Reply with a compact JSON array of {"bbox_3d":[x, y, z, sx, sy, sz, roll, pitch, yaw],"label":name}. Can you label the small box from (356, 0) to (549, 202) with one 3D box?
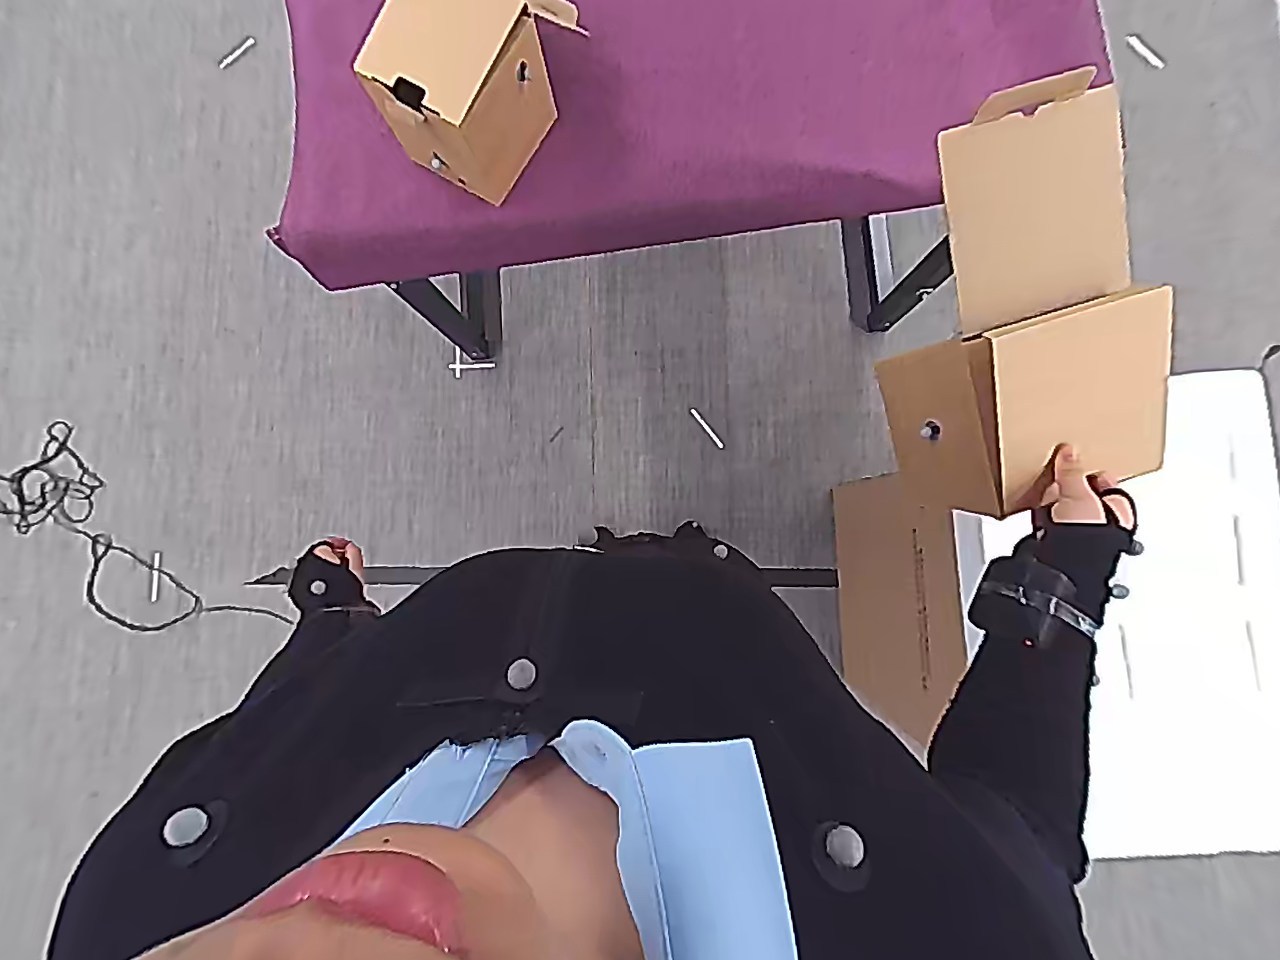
[{"bbox_3d":[-0.244,-0.541,0.758,0.168,0.176,0.179,31,86,5],"label":"small box"}]
